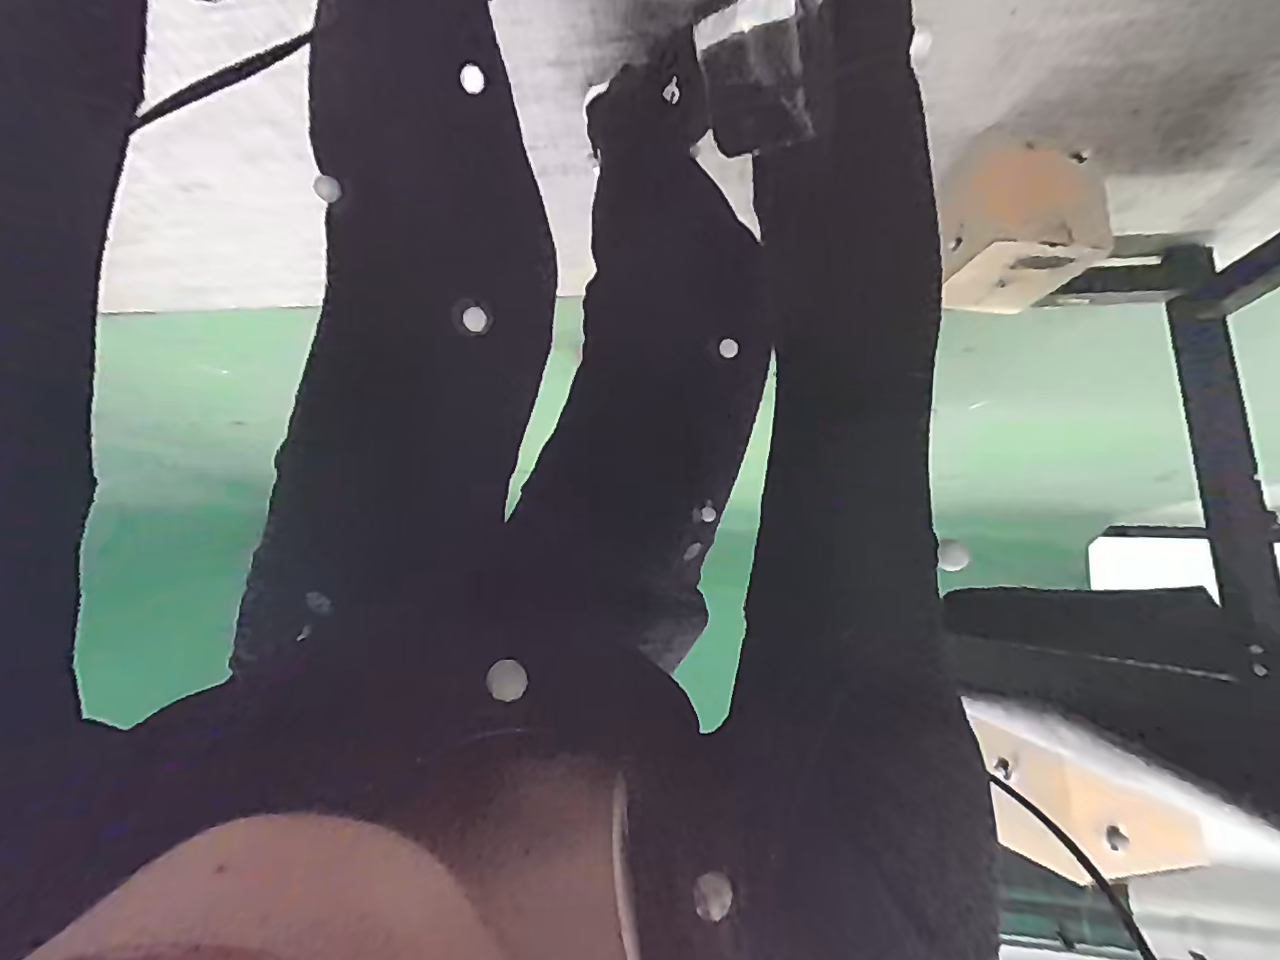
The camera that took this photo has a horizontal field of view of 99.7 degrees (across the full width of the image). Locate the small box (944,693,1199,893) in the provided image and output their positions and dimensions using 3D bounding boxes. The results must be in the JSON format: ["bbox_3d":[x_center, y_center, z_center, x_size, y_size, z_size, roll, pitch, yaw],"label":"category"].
[{"bbox_3d":[0.504,0.360,0.658,0.179,0.176,0.168,3,168,-13],"label":"small box"}]

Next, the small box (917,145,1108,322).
[{"bbox_3d":[0.531,-0.357,0.801,0.168,0.176,0.179,4,169,-5],"label":"small box"}]
